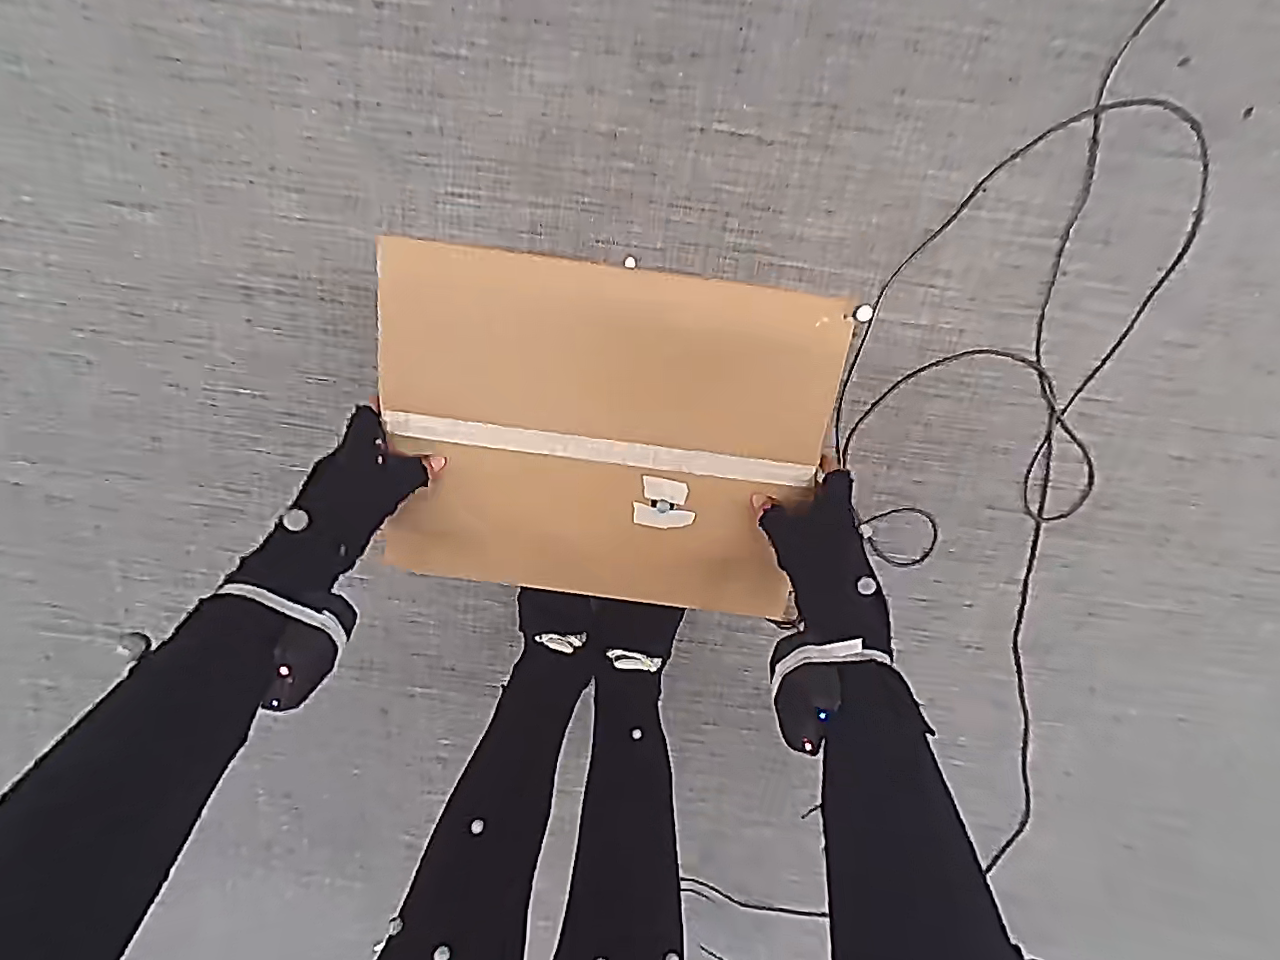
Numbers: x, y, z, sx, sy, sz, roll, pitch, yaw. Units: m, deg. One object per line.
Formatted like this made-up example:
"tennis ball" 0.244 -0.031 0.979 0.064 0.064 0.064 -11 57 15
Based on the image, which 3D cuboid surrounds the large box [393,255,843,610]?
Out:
"large box" -0.033 -0.074 0.657 0.408 0.320 0.320 7 109 -1
